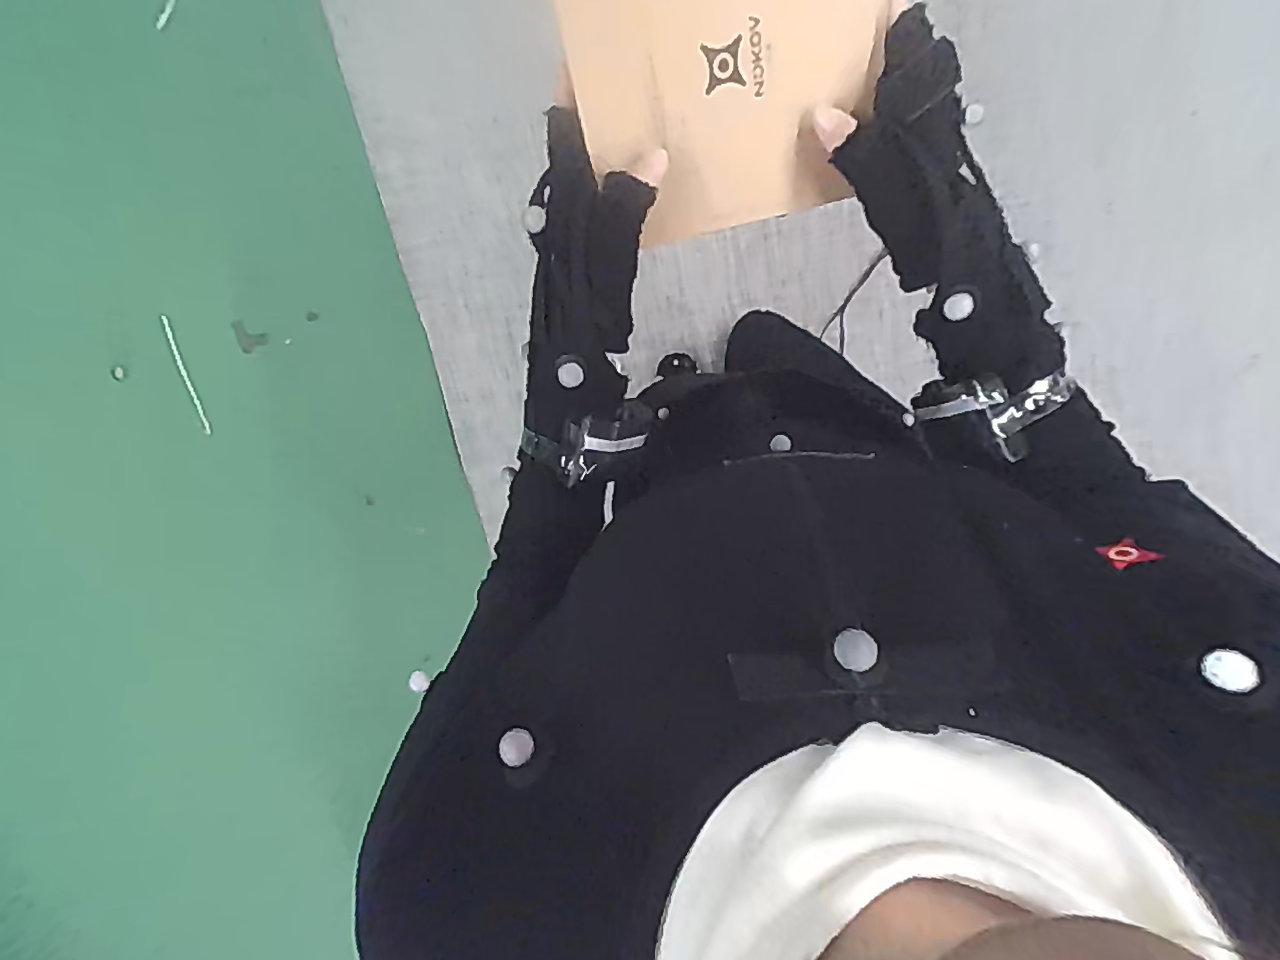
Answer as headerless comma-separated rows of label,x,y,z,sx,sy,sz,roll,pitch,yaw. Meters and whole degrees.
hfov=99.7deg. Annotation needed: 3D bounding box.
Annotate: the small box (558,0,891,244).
small box,0.047,-0.278,0.364,0.179,0.176,0.168,-12,122,6
